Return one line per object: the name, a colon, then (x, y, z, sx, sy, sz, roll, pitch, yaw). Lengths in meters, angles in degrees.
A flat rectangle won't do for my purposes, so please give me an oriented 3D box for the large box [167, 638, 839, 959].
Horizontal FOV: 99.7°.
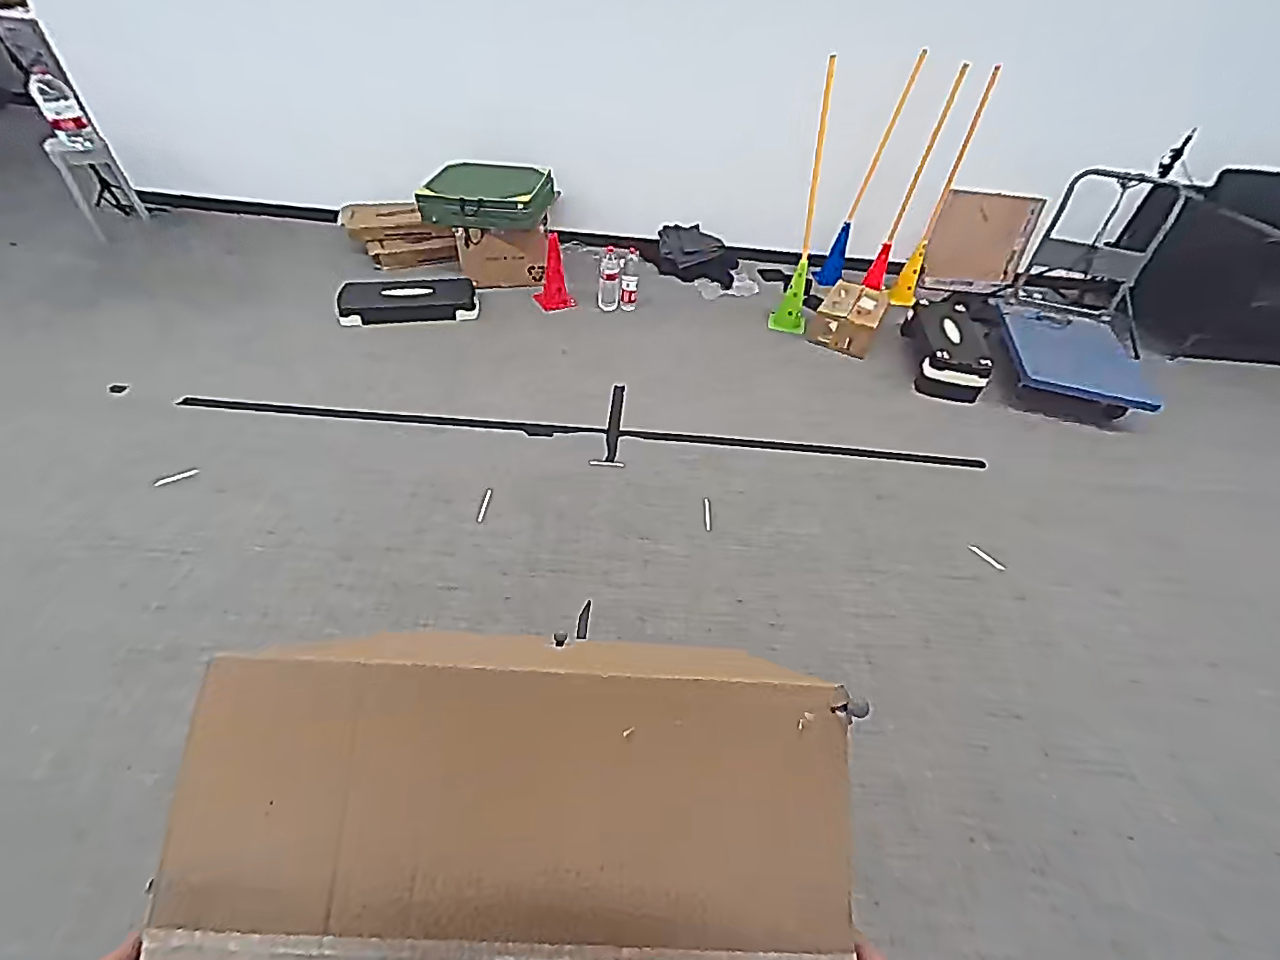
large box: (-0.084, 0.307, 0.469, 0.408, 0.320, 0.320, 3, 78, -2)
